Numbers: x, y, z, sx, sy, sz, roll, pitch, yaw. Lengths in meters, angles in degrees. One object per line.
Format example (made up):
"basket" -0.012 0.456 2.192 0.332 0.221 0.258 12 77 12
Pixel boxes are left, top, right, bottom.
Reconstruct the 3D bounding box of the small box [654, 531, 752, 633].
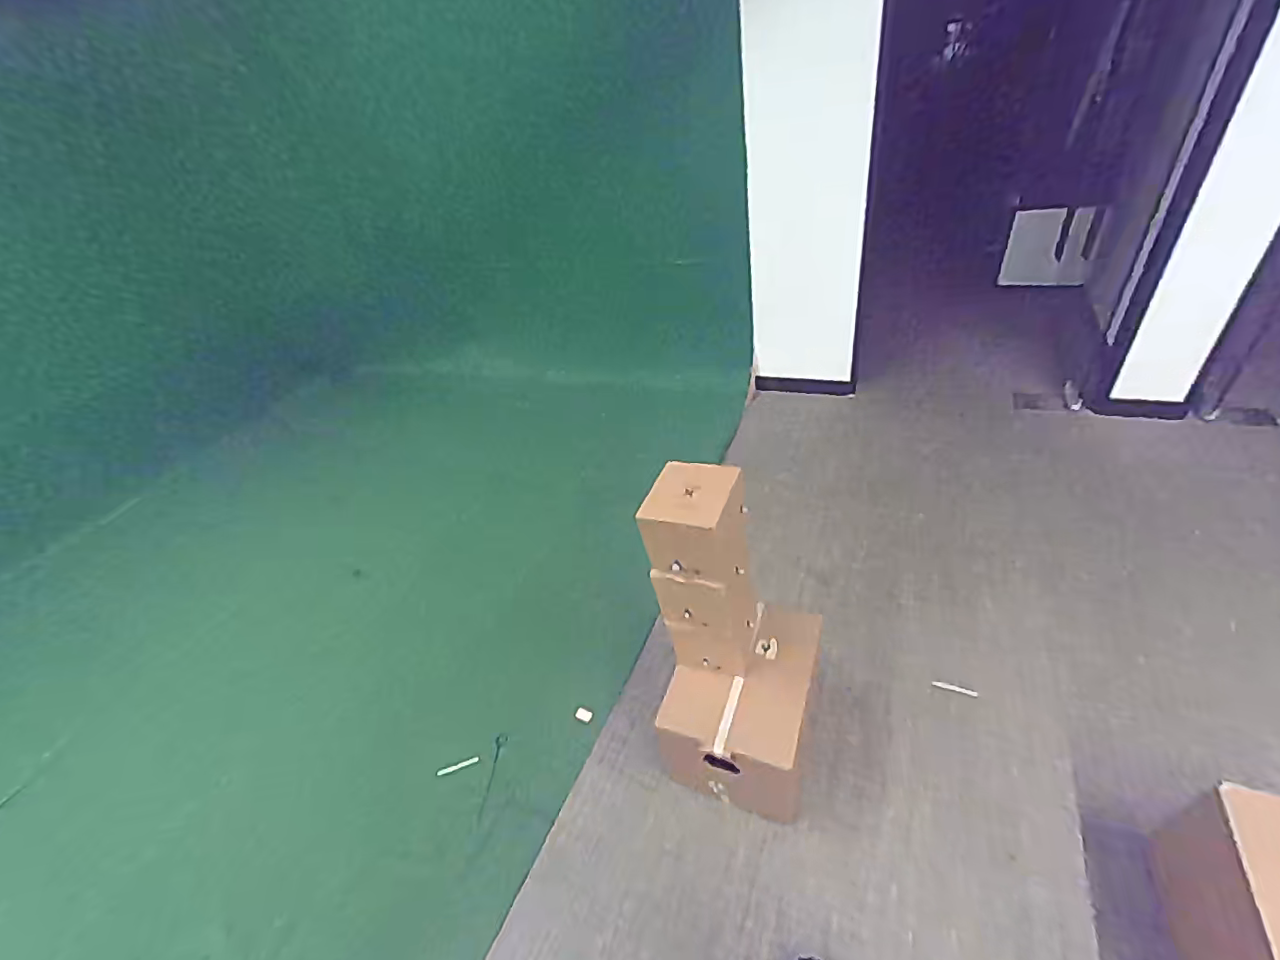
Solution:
"small box" 0.149 0.211 1.216 0.168 0.176 0.179 5 43 26

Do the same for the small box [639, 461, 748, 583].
"small box" 0.120 0.083 1.118 0.168 0.176 0.179 6 44 28

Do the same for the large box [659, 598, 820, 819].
"large box" 0.279 0.566 1.398 0.320 0.320 0.408 7 42 24
